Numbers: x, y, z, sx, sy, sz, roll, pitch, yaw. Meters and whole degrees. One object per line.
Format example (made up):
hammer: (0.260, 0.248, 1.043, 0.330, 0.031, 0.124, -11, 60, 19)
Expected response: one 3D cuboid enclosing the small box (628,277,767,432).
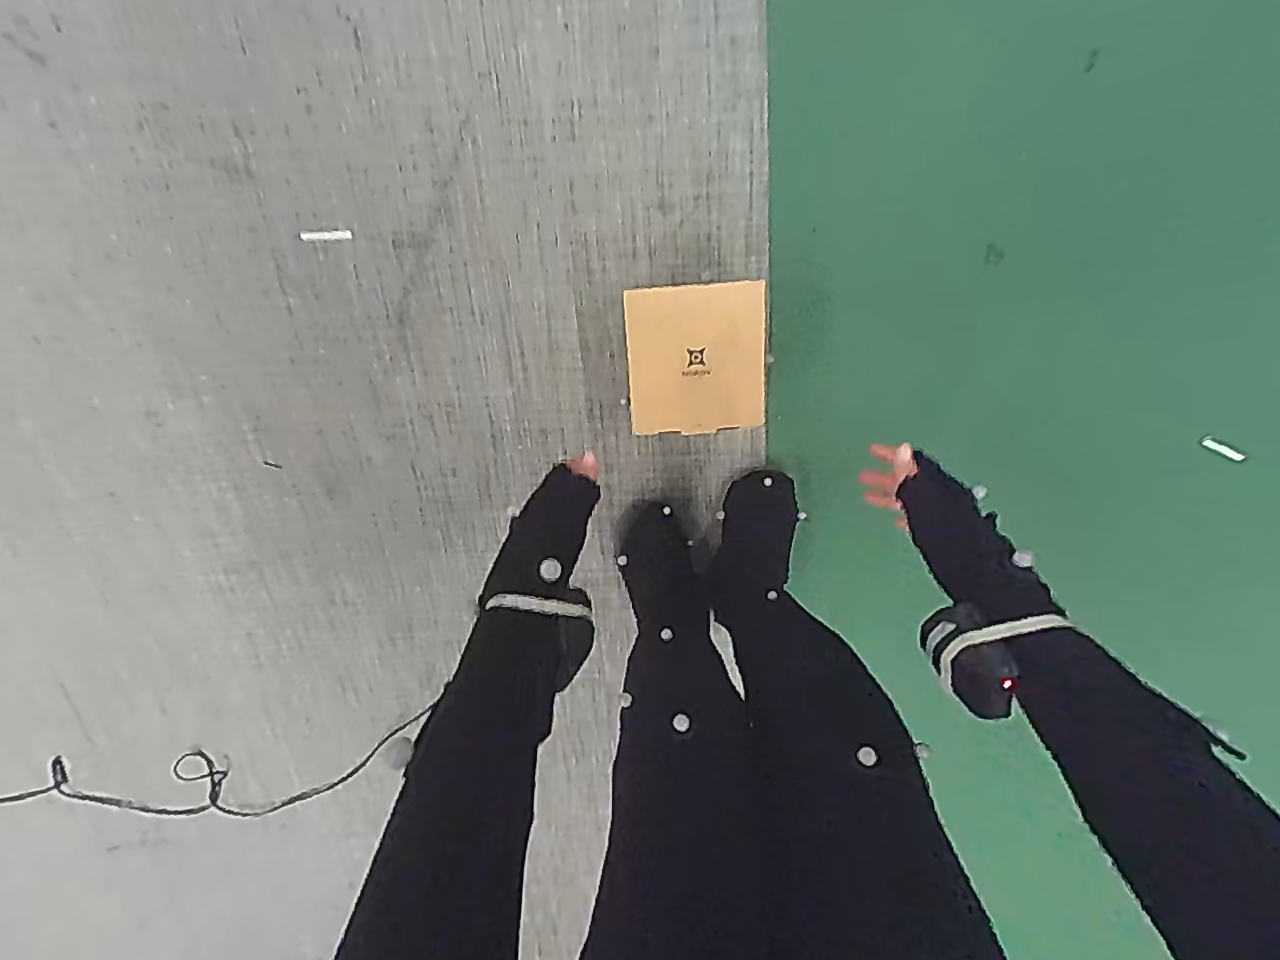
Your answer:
small box: (0.072, -0.172, 0.728, 0.168, 0.176, 0.179, -3, 109, 3)
